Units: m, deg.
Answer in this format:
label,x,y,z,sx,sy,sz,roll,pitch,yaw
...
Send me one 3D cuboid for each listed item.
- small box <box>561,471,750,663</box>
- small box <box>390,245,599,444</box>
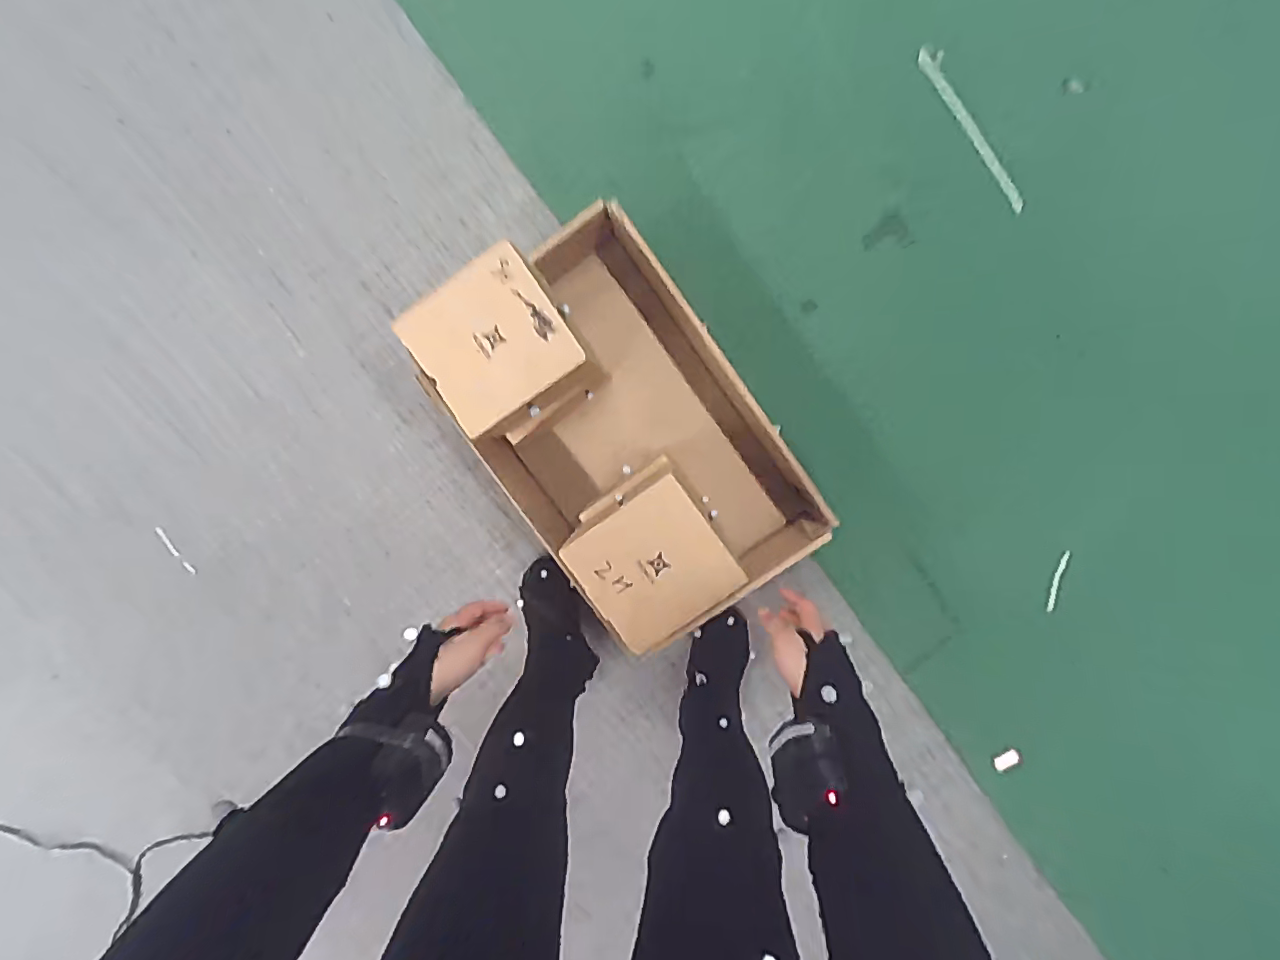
label,x,y,z,sx,sy,sz,roll,pitch,yaw
small box,0.021,0.103,0.731,0.179,0.176,0.168,-36,93,7
small box,-0.173,-0.163,0.705,0.179,0.176,0.168,-34,95,7
